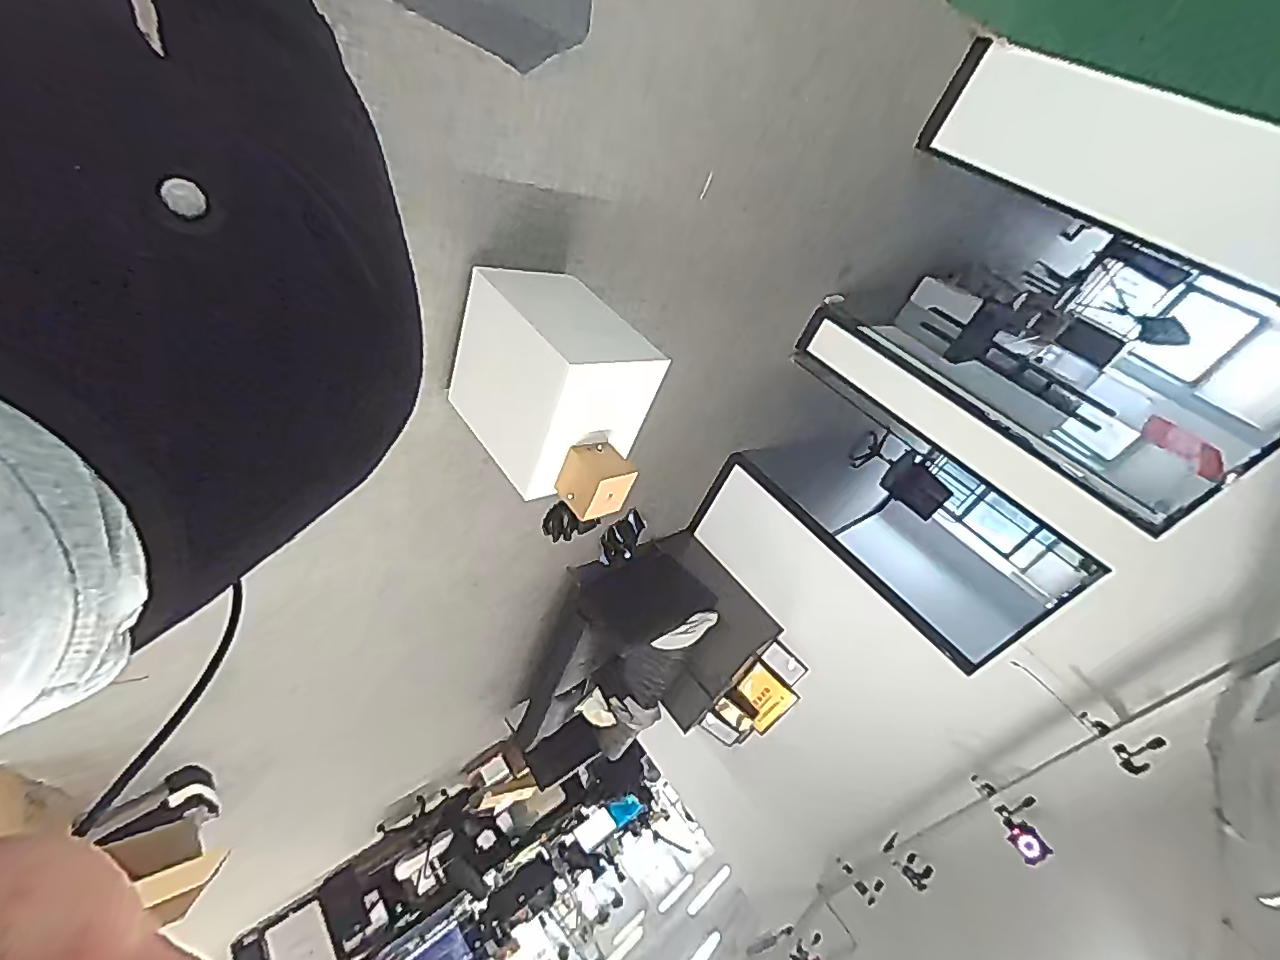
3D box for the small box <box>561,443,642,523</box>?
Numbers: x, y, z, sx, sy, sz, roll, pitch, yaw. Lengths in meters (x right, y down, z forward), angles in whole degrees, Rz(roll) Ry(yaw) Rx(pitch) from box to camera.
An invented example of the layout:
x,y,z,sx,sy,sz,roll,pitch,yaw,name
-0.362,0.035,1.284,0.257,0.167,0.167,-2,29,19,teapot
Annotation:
x,y,z,sx,sy,sz,roll,pitch,yaw,name
-0.130,0.007,1.730,0.168,0.176,0.179,-15,140,-44,small box
